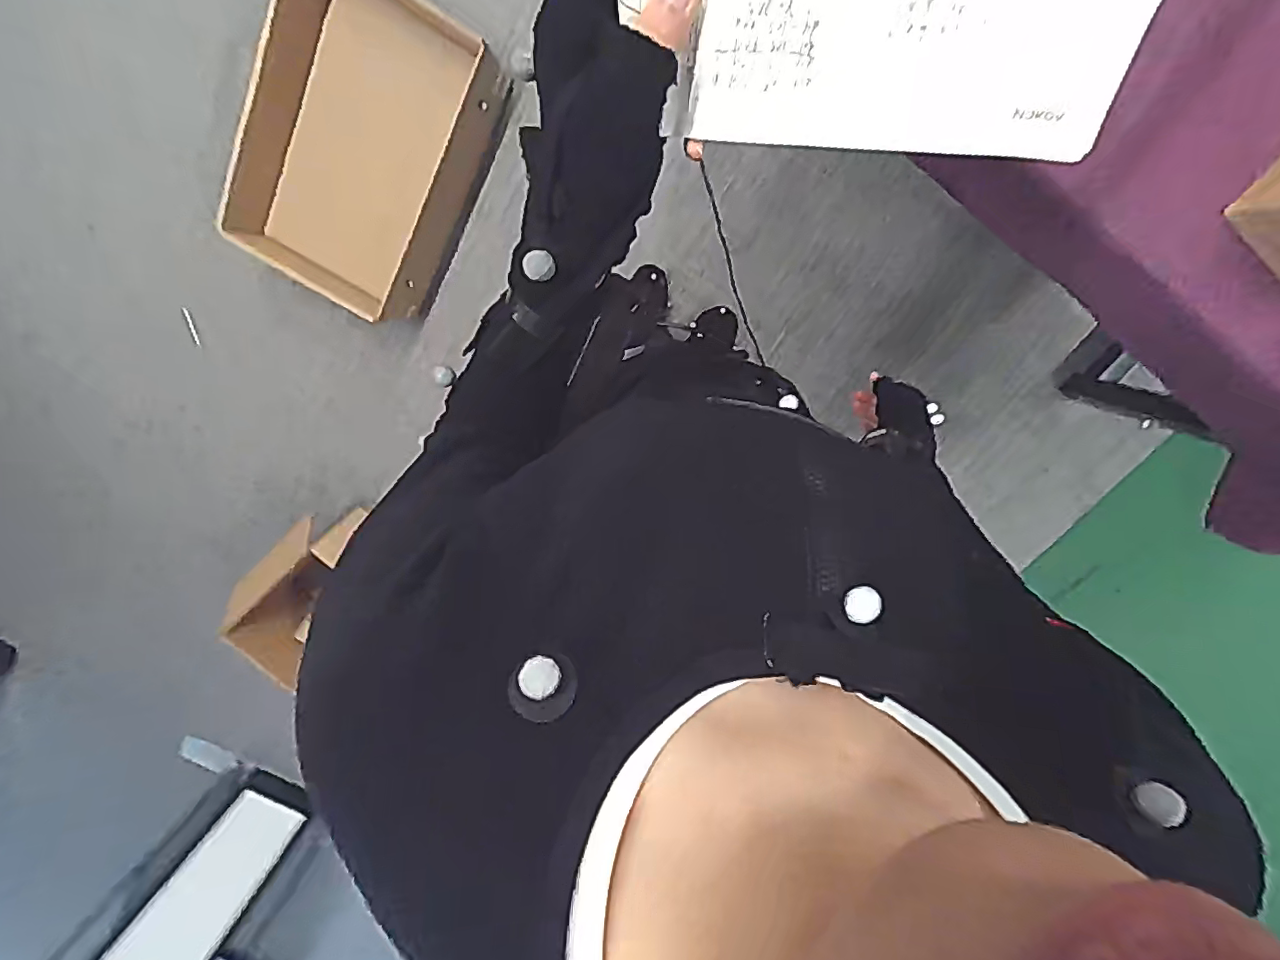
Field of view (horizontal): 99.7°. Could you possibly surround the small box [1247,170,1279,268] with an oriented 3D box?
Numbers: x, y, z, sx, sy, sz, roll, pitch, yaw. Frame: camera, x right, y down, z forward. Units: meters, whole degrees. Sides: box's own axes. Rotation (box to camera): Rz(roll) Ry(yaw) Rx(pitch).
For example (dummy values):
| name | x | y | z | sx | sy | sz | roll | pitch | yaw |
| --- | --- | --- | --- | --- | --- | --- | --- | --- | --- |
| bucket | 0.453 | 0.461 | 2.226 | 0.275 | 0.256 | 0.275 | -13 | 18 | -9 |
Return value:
| name | x | y | z | sx | sy | sz | roll | pitch | yaw |
| --- | --- | --- | --- | --- | --- | --- | --- | --- | --- |
| small box | 0.745 | -0.269 | 0.499 | 0.168 | 0.176 | 0.179 | 38 | 109 | -9 |
